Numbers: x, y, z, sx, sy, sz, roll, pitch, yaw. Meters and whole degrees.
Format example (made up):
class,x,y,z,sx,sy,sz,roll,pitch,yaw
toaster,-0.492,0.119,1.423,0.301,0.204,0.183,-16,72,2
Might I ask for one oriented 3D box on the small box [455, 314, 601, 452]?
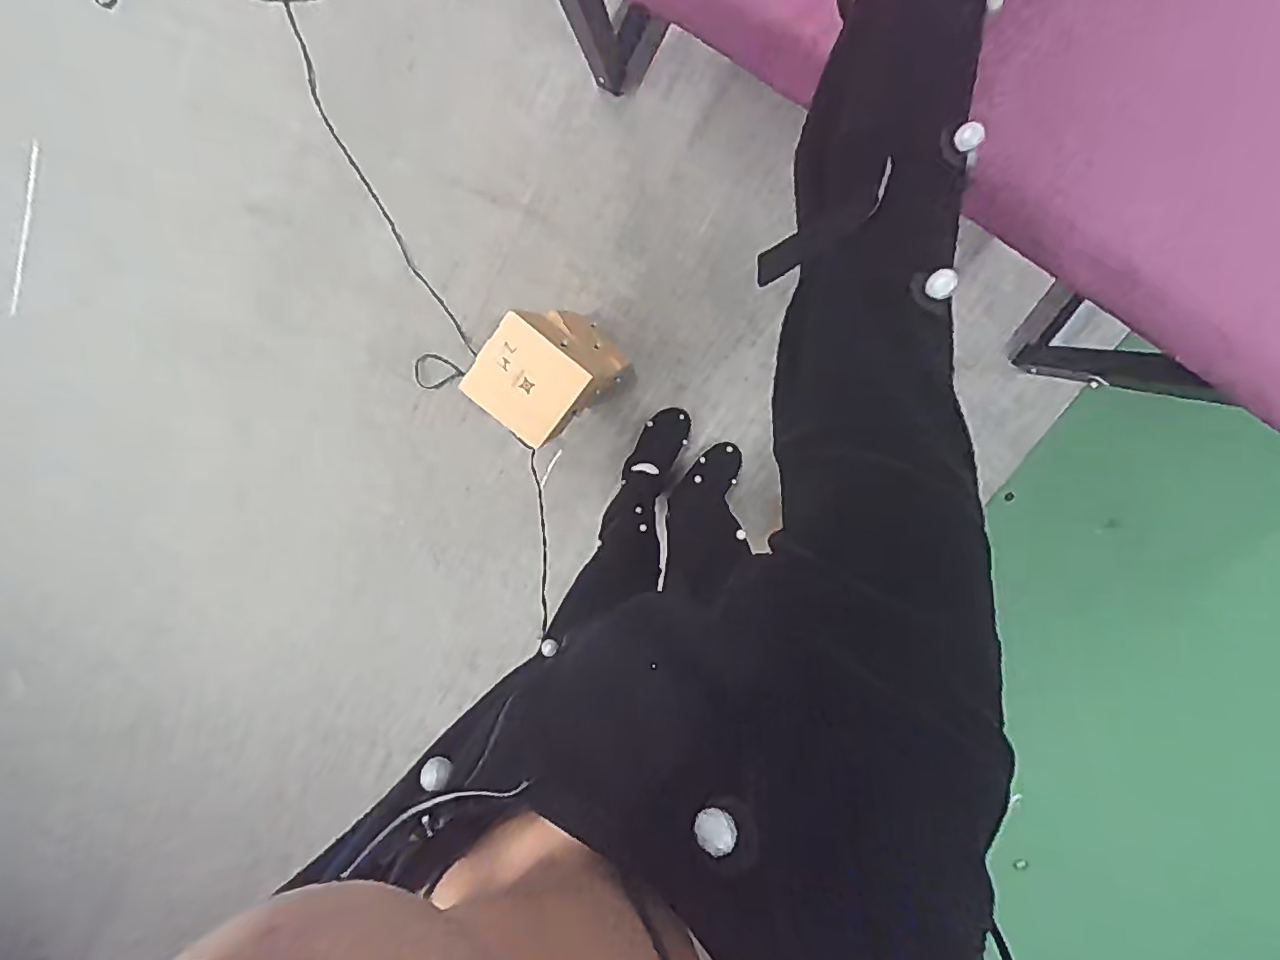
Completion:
class,x,y,z,sx,sy,sz,roll,pitch,yaw
small box,-0.190,-0.181,0.978,0.179,0.176,0.168,39,105,-5

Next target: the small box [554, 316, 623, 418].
class,x,y,z,sx,sy,sz,roll,pitch,yaw
small box,-0.156,-0.272,1.290,0.179,0.176,0.168,-42,97,16
